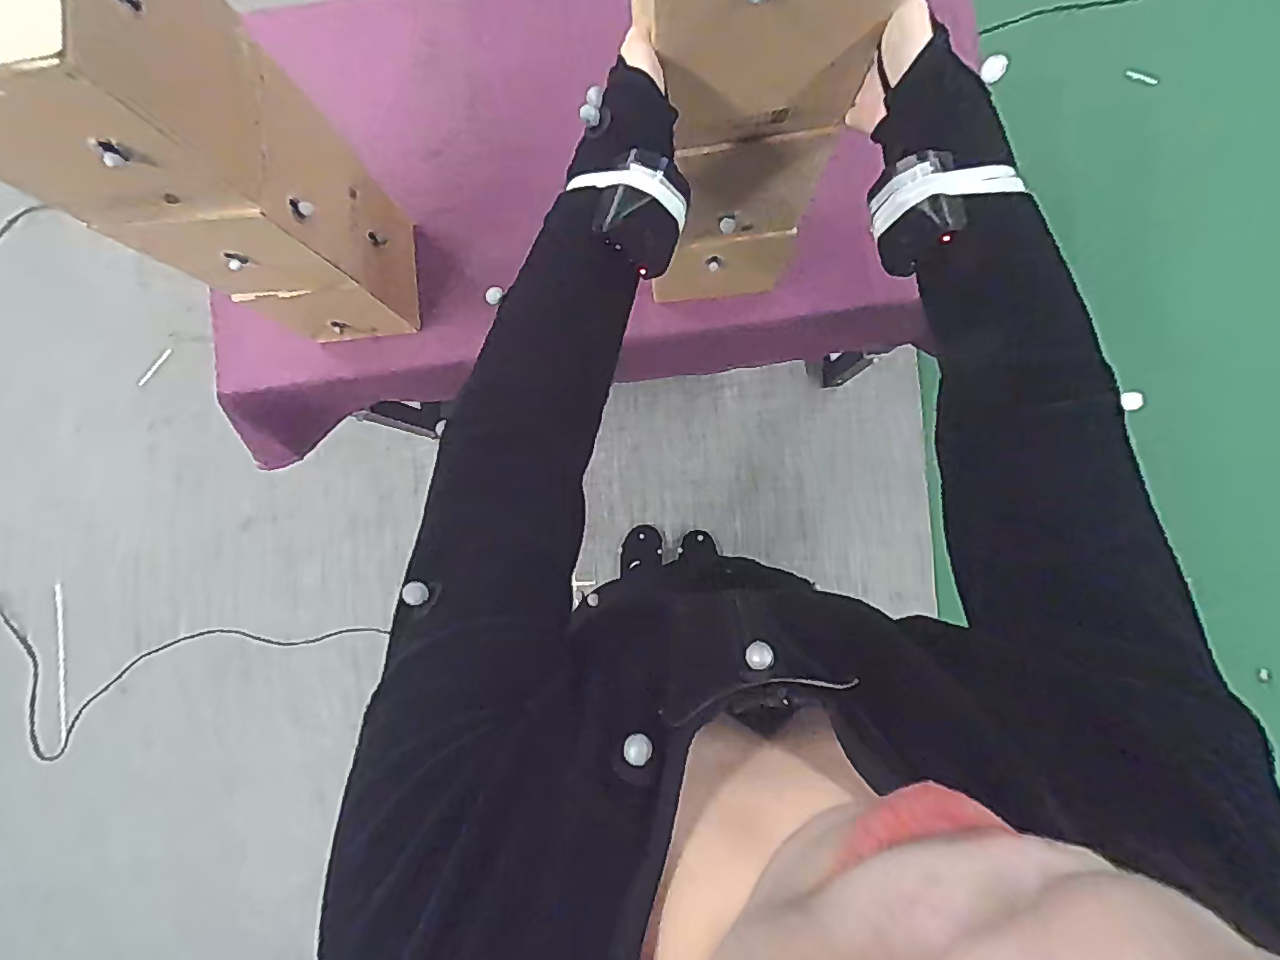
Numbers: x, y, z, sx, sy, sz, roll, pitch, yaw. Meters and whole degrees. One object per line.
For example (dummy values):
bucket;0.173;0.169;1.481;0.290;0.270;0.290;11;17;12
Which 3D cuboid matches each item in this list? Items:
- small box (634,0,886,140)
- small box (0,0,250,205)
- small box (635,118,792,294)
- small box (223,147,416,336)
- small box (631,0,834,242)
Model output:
small box;0.077;-0.394;0.393;0.168;0.176;0.179;-7;86;3
small box;-0.439;-0.336;0.417;0.168;0.176;0.179;-4;87;2
small box;0.091;-0.362;0.721;0.179;0.176;0.168;-5;88;3
small box;-0.428;-0.315;0.745;0.168;0.176;0.179;-5;88;2
small box;0.082;-0.378;0.558;0.168;0.176;0.179;-8;87;3
